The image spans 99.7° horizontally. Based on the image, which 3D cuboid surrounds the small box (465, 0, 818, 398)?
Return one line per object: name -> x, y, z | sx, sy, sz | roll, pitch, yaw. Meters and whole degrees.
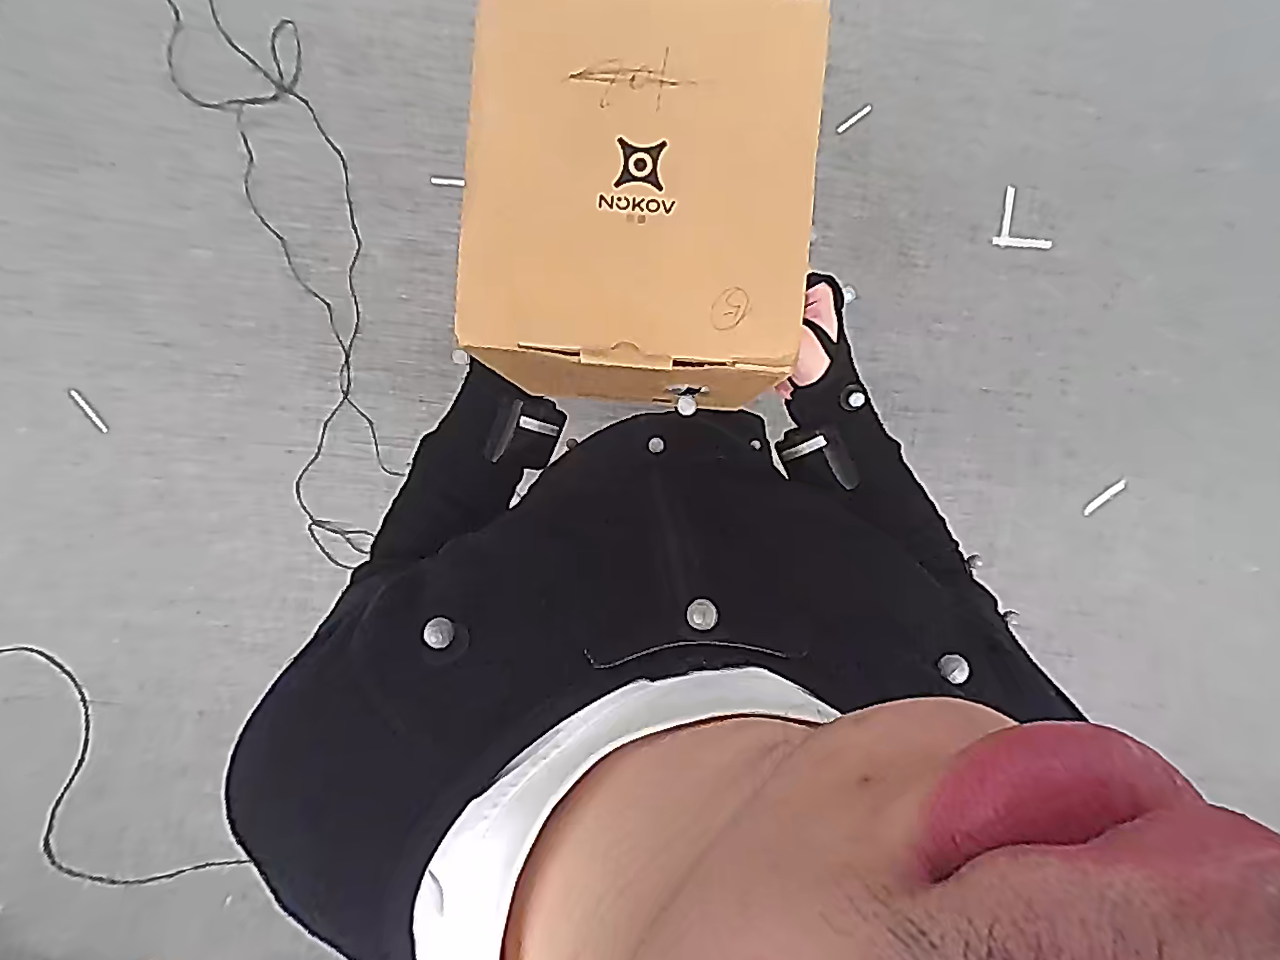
small box -> 0.000, -0.150, 0.344 | 0.168, 0.176, 0.179 | 4, 91, 0
